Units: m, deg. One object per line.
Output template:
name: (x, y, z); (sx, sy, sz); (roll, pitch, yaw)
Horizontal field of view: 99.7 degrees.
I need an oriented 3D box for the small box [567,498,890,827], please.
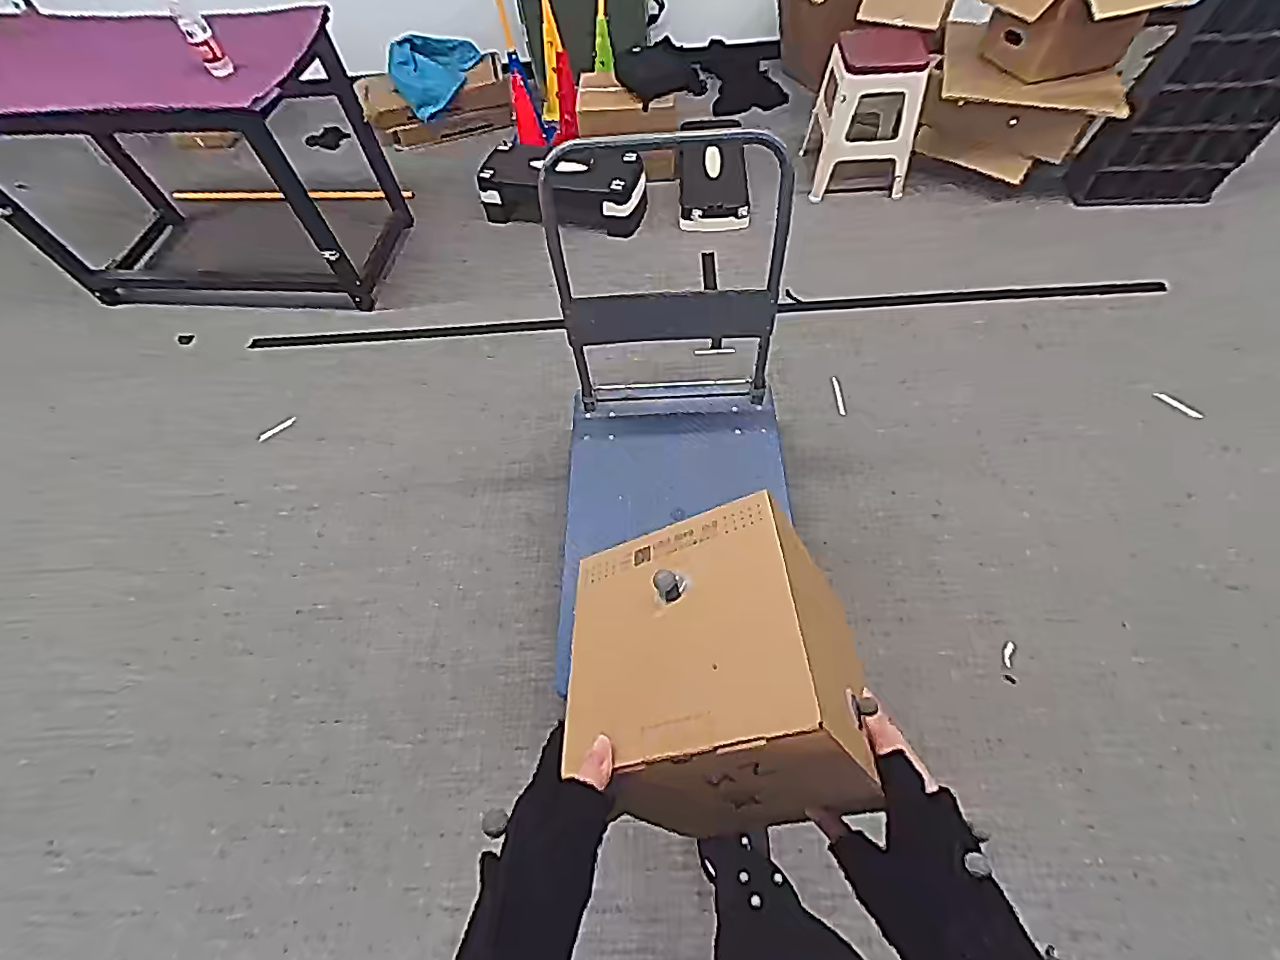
small box: (0.066, 0.144, 0.415); (0.168, 0.179, 0.176); (-24, 40, 21)
